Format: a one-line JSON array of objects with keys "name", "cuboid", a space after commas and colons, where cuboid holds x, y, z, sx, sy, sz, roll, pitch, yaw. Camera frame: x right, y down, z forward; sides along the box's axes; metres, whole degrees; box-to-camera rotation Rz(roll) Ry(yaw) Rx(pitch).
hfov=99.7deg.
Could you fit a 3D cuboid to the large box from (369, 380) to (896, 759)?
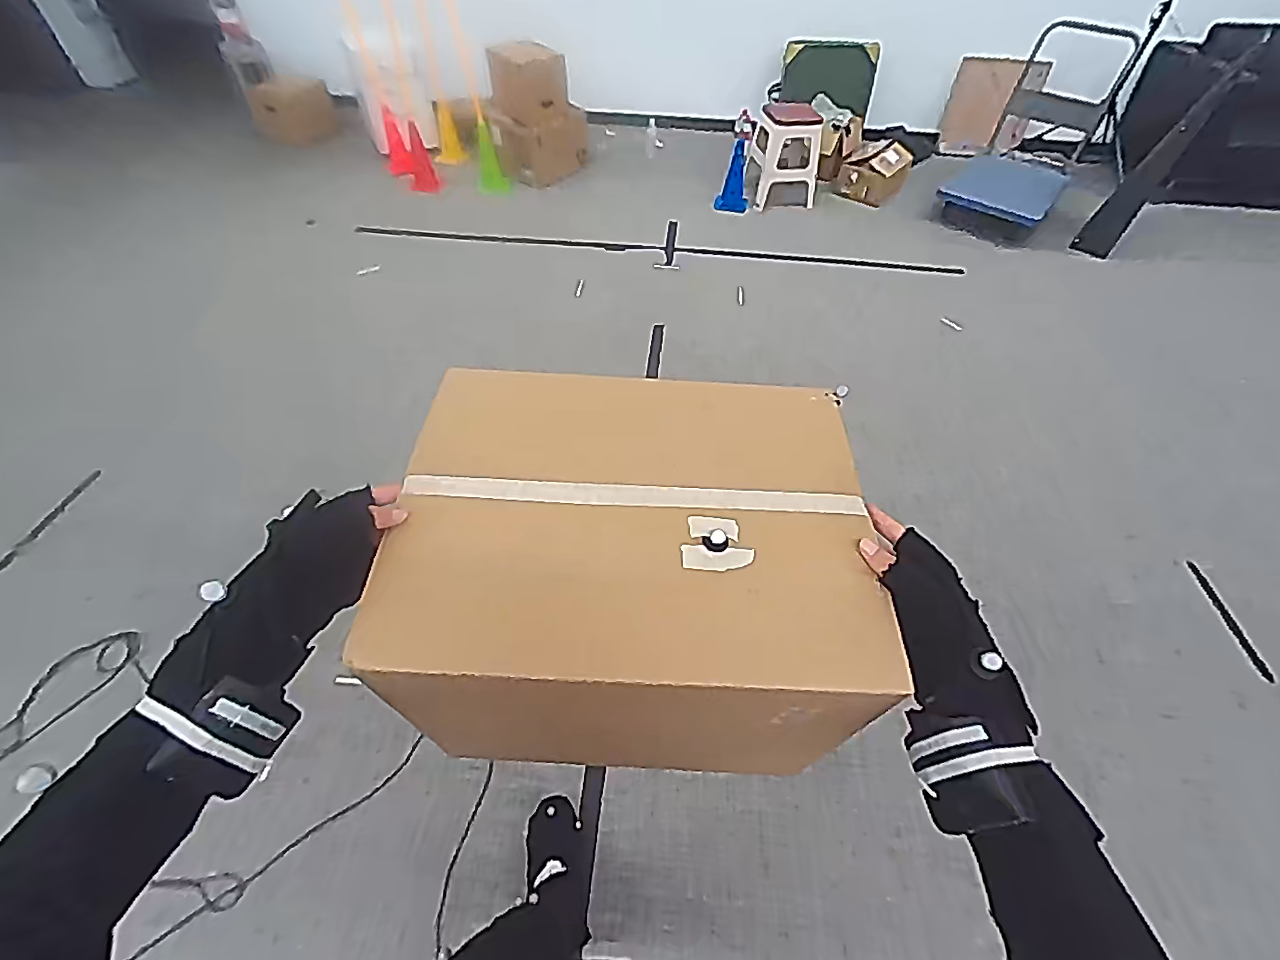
[{"name": "large box", "cuboid": [-0.009, 0.111, 0.607, 0.408, 0.320, 0.320, 3, 53, -1]}]
